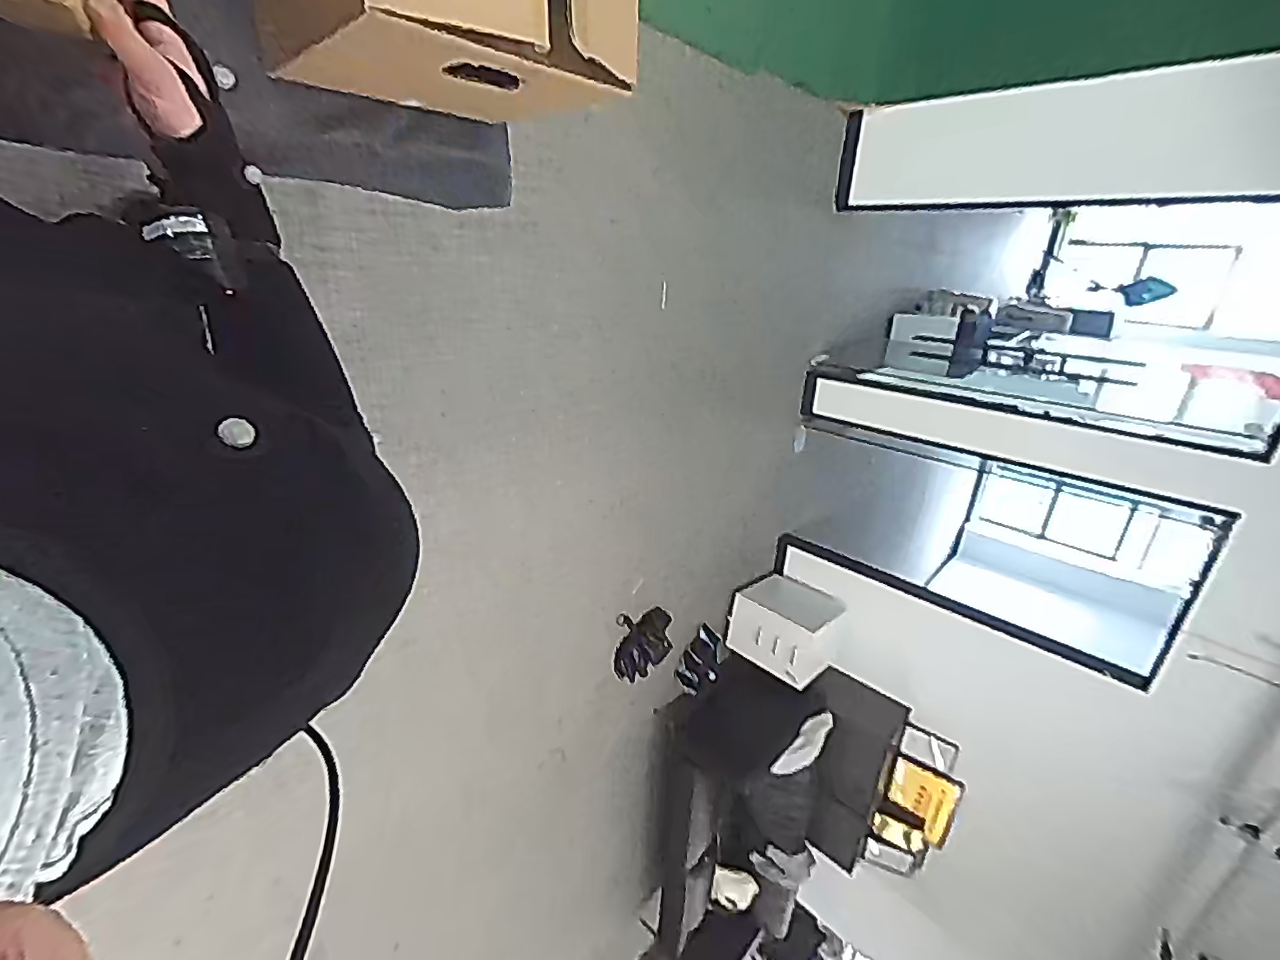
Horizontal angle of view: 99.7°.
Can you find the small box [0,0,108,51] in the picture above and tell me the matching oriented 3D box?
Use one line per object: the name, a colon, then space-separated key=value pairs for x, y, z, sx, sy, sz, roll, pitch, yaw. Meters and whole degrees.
small box: x=-0.376 y=-0.357 z=0.263 sx=0.168 sy=0.176 sz=0.179 roll=4 pitch=109 yaw=-44
